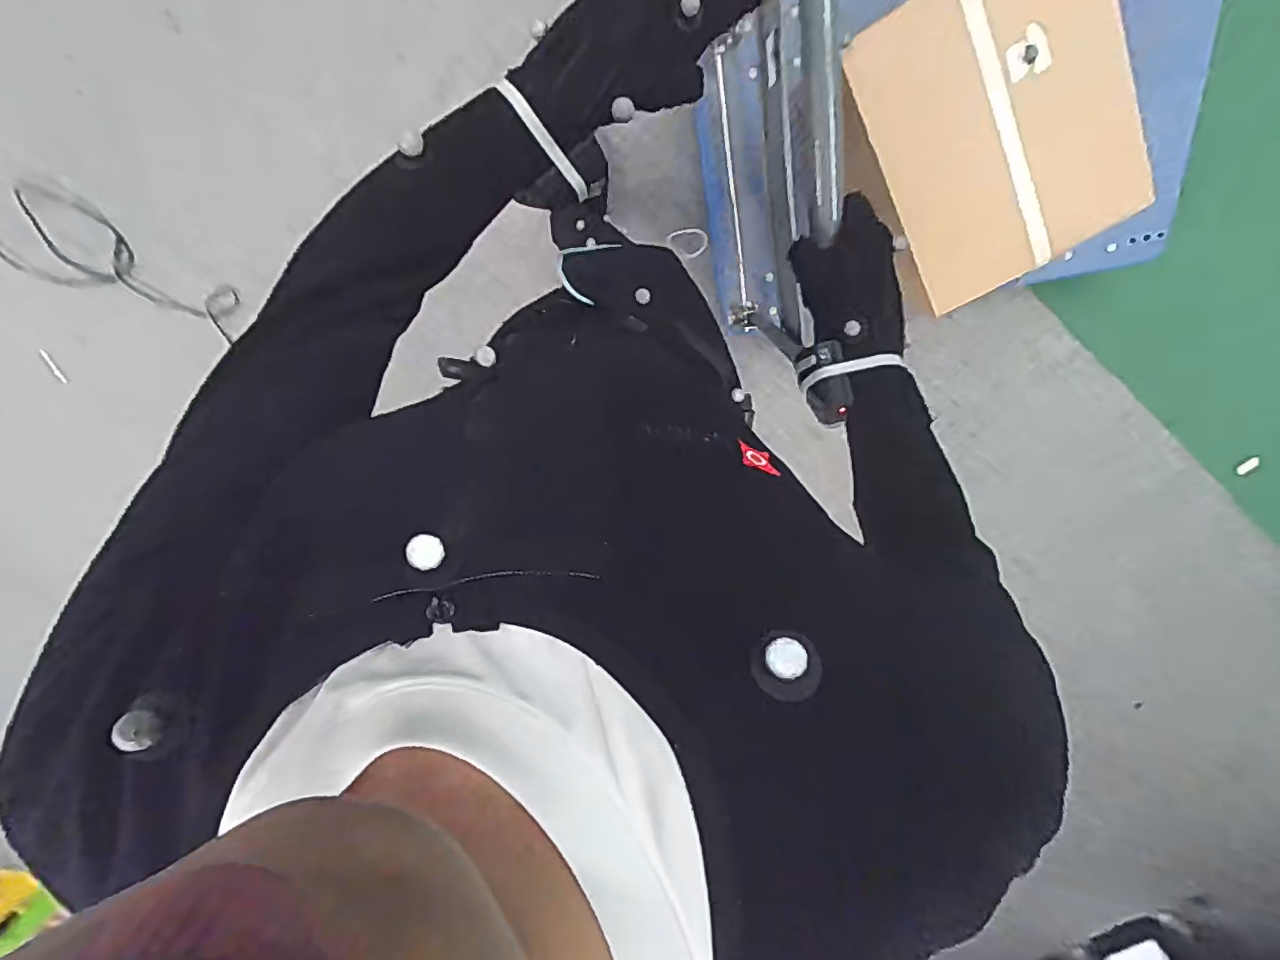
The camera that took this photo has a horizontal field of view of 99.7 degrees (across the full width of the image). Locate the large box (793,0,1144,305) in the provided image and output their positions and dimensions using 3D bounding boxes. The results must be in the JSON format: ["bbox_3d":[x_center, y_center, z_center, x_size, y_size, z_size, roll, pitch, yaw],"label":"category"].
[{"bbox_3d":[0.492,-0.559,0.870,0.320,0.320,0.408,-27,112,16],"label":"large box"}]
